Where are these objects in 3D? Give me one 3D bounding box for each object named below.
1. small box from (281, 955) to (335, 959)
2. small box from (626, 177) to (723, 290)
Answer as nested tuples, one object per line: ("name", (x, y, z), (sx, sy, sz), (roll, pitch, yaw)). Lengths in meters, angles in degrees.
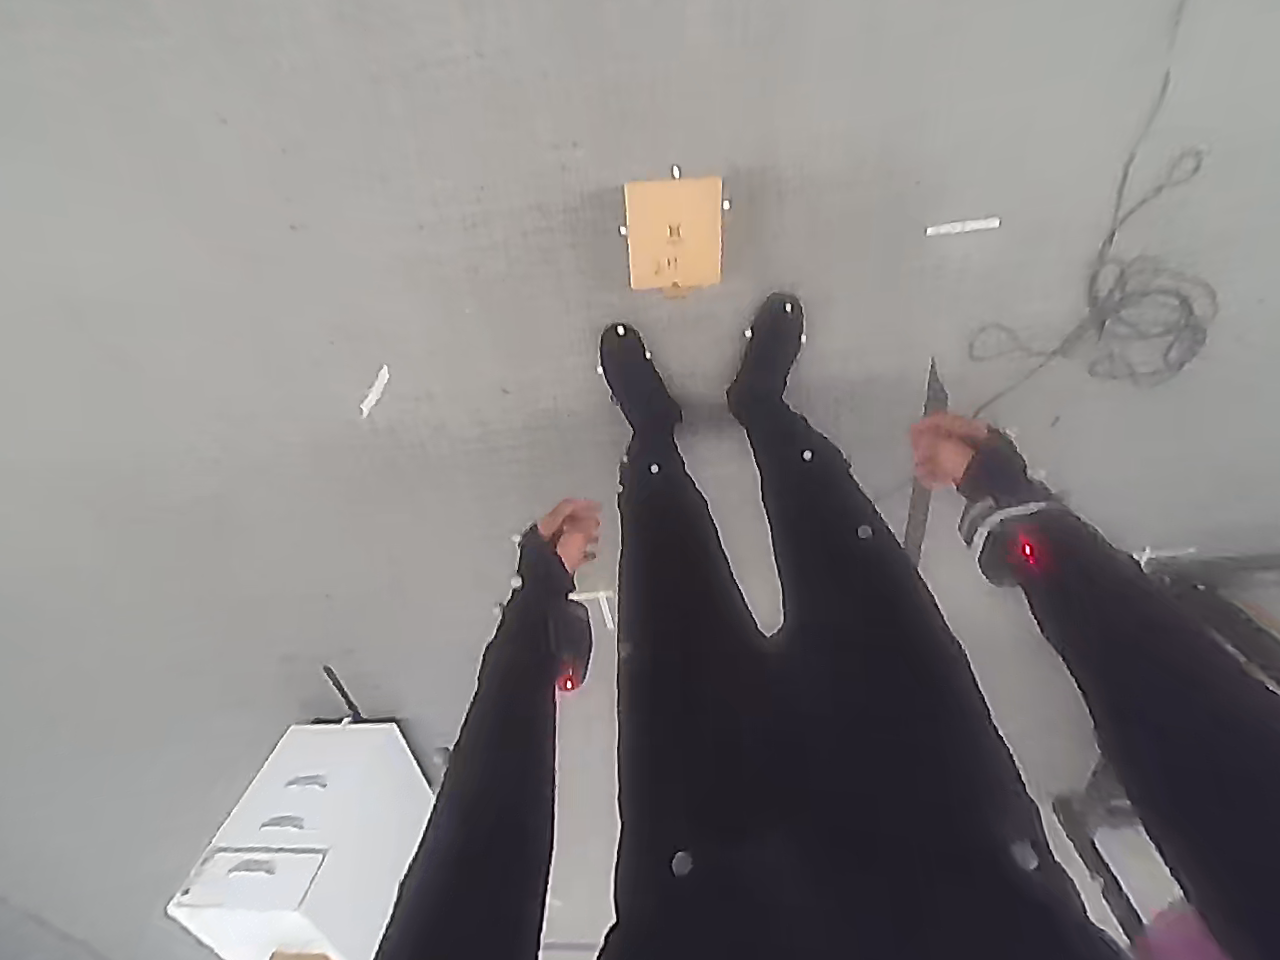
("small box", (-0.967, 1.480, 1.527), (0.179, 0.176, 0.168), (-3, 121, 6))
("small box", (0.065, -0.462, 1.009), (0.168, 0.176, 0.179), (-1, 121, 5))
